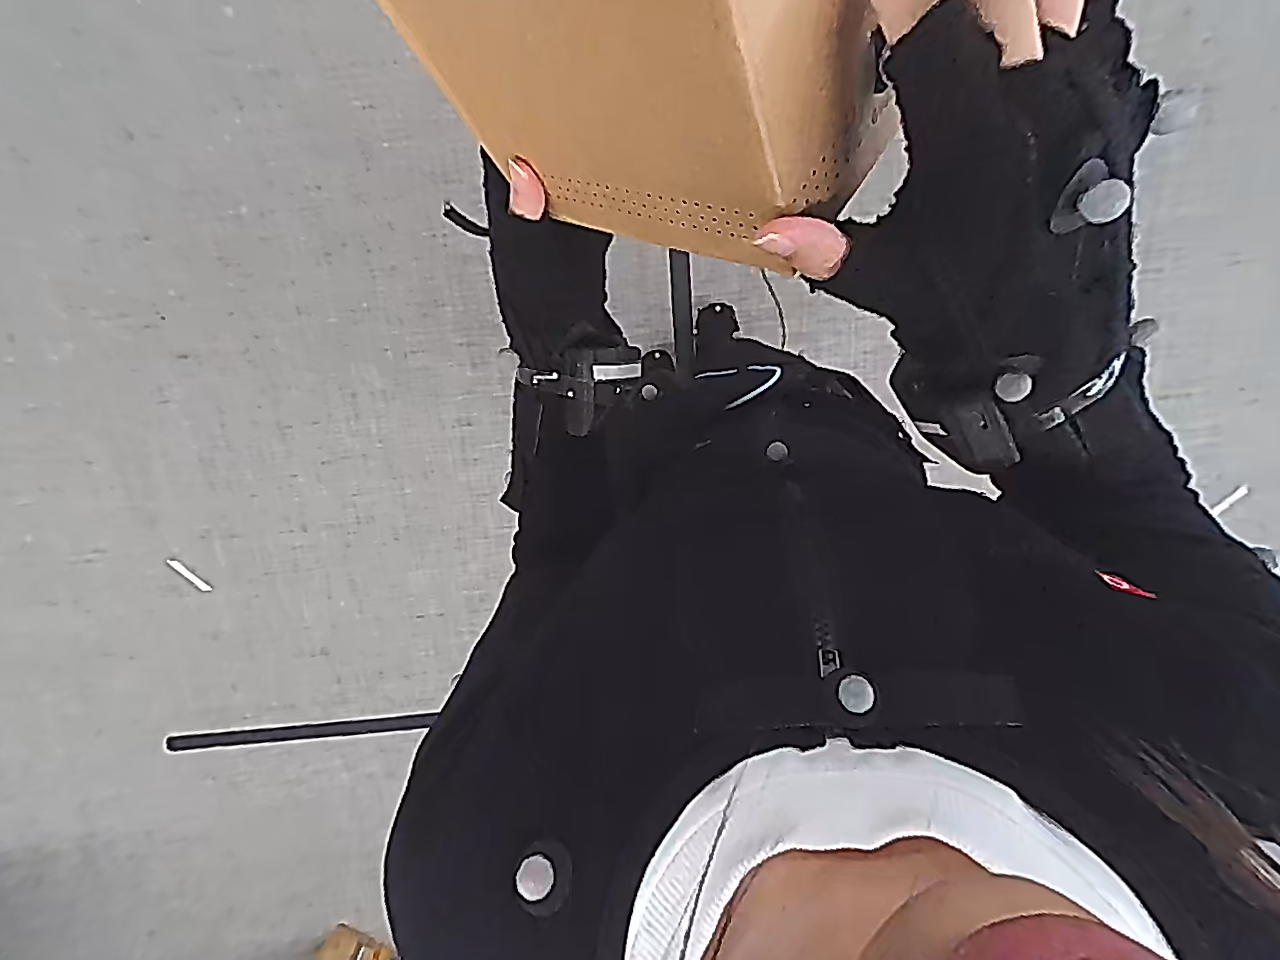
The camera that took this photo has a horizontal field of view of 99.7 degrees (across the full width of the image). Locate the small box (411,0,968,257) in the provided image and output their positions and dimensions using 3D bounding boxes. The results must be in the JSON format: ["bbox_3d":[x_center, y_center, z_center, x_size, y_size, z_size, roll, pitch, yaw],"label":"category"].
[{"bbox_3d":[0.015,-0.221,0.221,0.179,0.176,0.168,30,83,34],"label":"small box"}]
